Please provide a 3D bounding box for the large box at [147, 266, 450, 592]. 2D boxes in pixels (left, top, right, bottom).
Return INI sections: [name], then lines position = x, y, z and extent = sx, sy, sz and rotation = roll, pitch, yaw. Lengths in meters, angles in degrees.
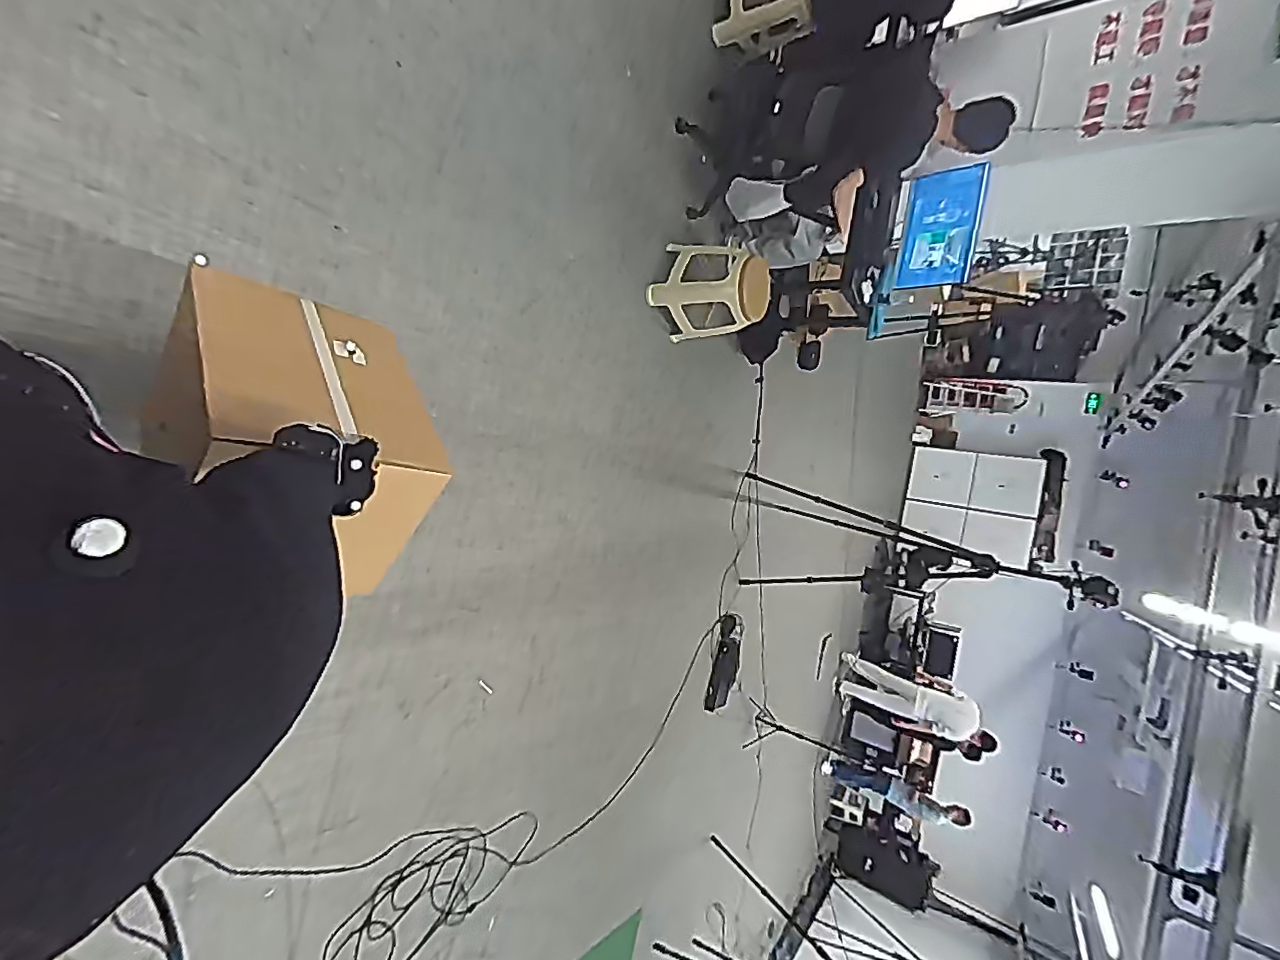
[large box]
position = -0.583, -0.069, 0.903
extent = 0.320, 0.408, 0.320
rotation = 12, 126, -51
